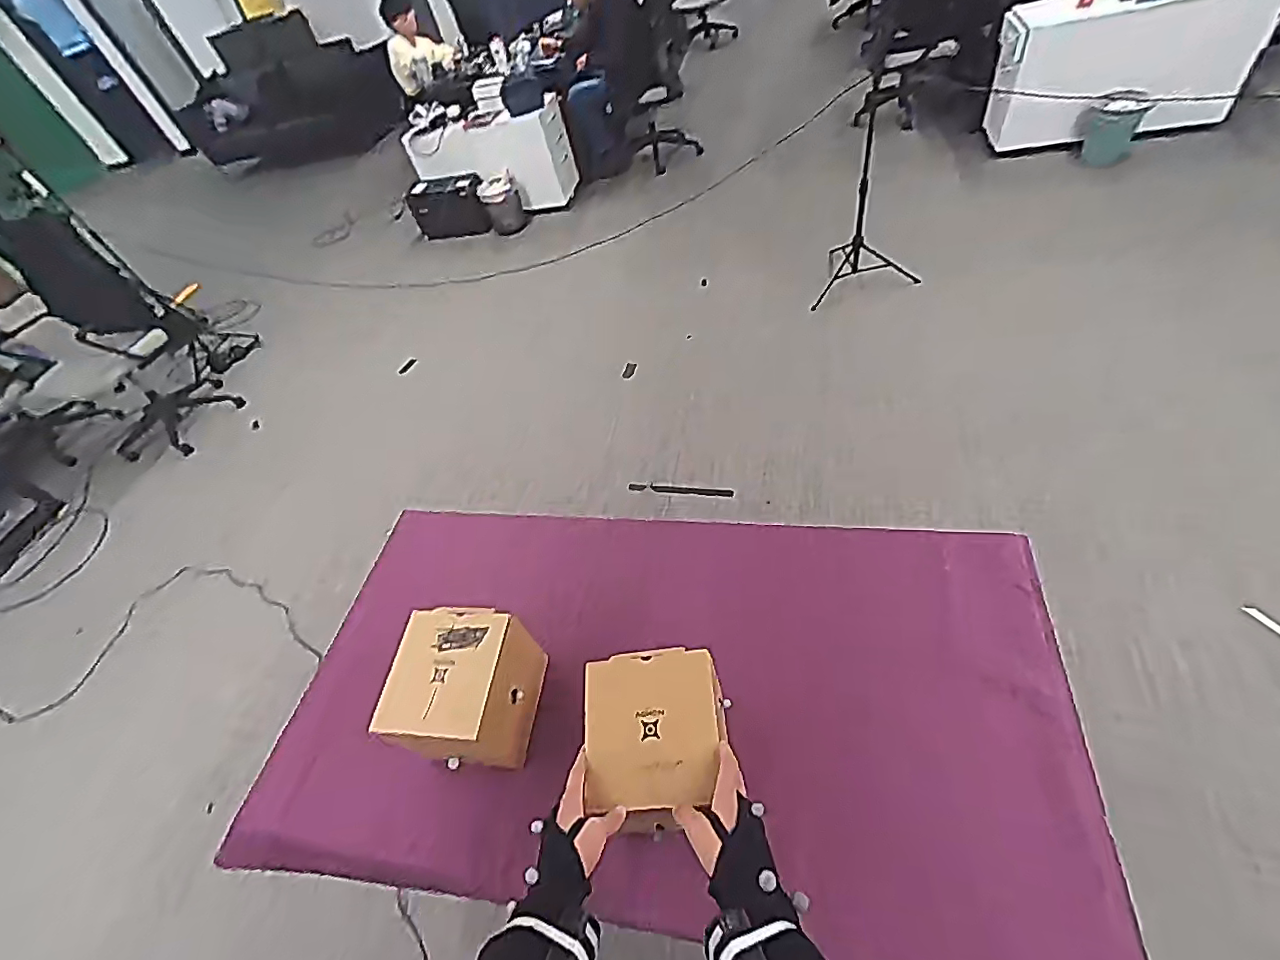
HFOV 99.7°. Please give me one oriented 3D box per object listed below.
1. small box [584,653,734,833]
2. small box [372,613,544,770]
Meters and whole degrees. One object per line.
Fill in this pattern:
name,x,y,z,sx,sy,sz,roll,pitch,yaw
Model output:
small box,0.030,0.354,0.722,0.168,0.176,0.179,-9,49,8
small box,-0.260,0.321,0.825,0.168,0.176,0.179,-2,51,14
